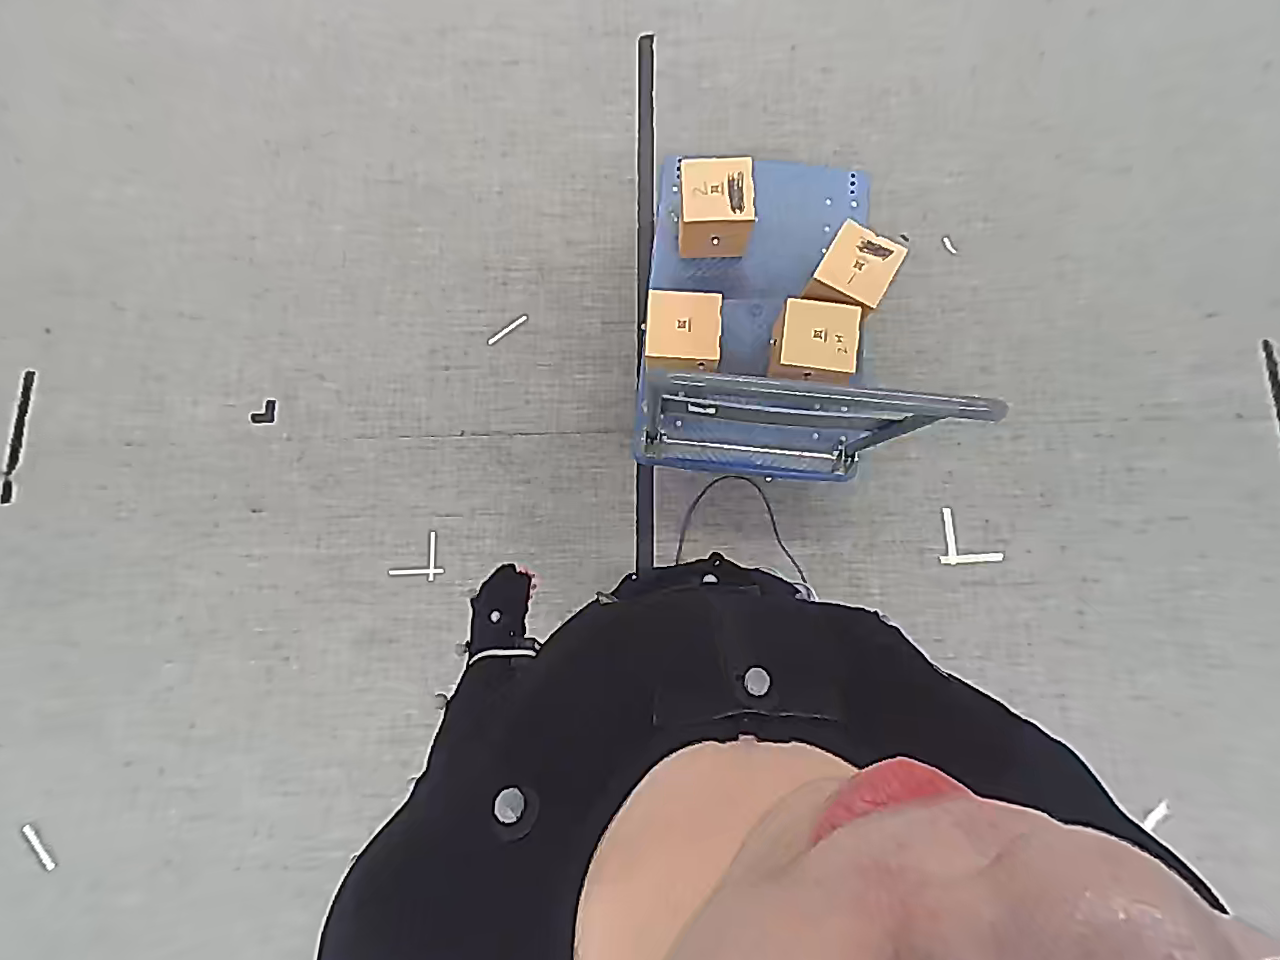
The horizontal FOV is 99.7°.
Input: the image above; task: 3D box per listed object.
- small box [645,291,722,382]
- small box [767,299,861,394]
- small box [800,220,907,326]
[{"bbox_3d":[0.104,-0.349,1.340,0.179,0.176,0.168,3,82,0],"label":"small box"},{"bbox_3d":[0.420,-0.321,1.327,0.179,0.176,0.168,9,82,3],"label":"small box"},{"bbox_3d":[0.522,-0.497,1.351,0.168,0.176,0.179,30,84,6],"label":"small box"}]
